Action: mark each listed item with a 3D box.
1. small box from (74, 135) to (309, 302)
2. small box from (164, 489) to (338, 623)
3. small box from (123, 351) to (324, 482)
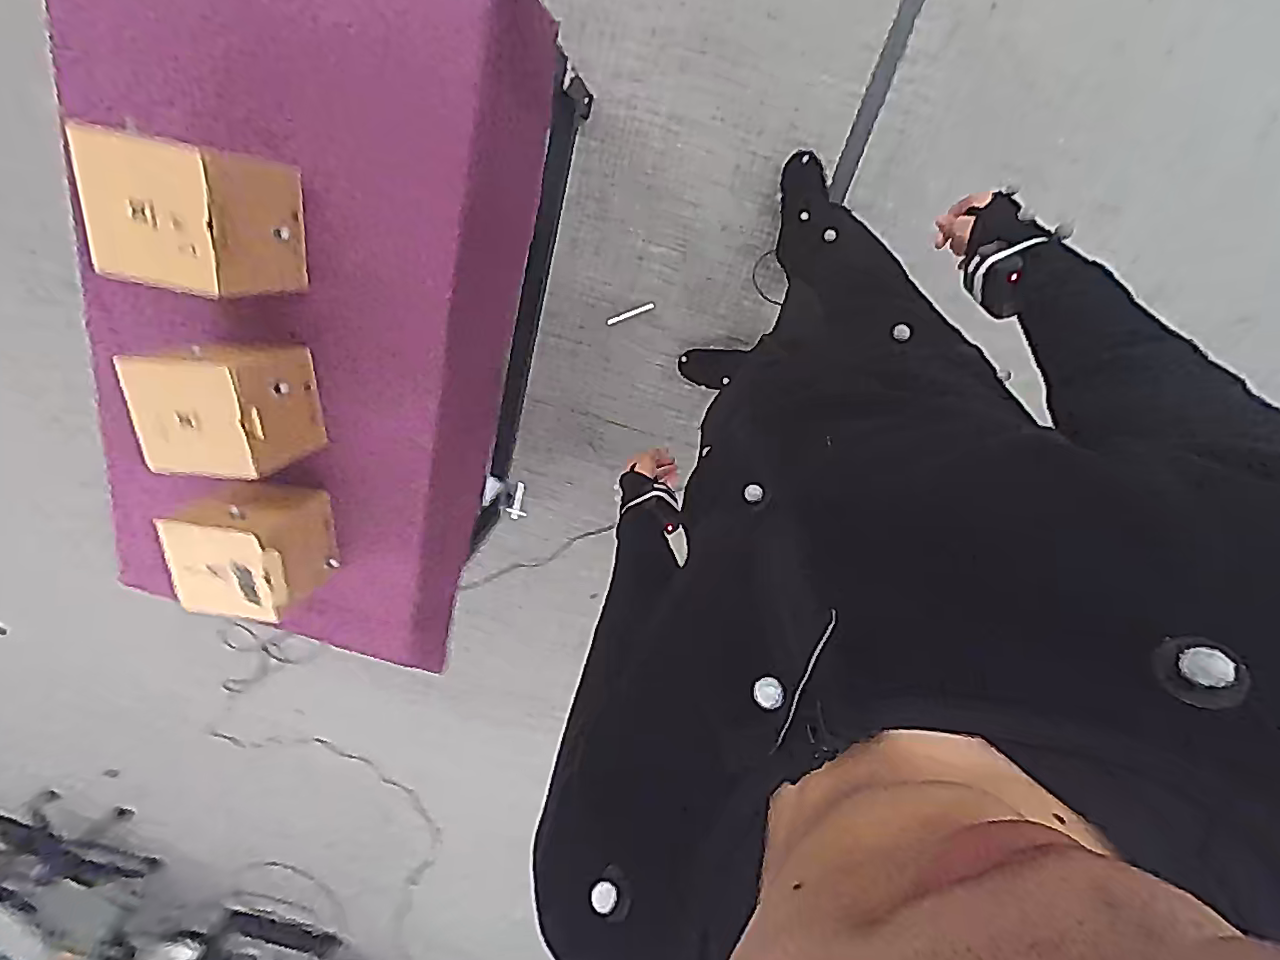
[{"bbox_3d":[-0.597,-0.350,0.745,0.179,0.176,0.168,11,113,1],"label":"small box"},{"bbox_3d":[-0.655,0.125,0.941,0.179,0.176,0.168,5,112,5],"label":"small box"},{"bbox_3d":[-0.629,-0.107,0.848,0.179,0.176,0.168,4,111,5],"label":"small box"}]
